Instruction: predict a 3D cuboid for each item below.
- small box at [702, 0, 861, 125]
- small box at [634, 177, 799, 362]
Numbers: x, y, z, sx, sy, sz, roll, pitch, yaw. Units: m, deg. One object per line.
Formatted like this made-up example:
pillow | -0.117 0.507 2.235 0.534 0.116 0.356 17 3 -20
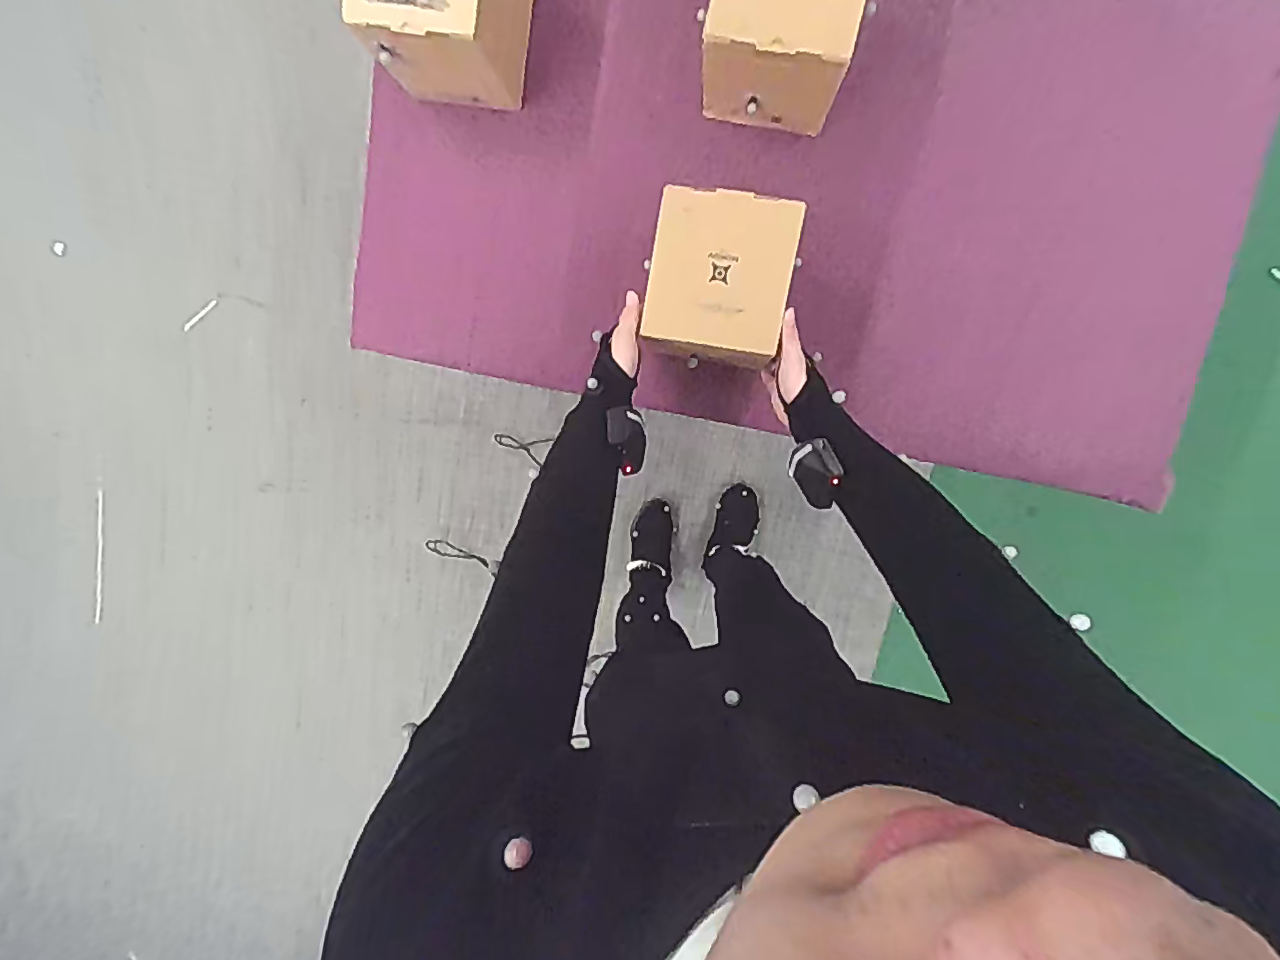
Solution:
small box | 0.174 -0.576 0.659 0.168 0.176 0.179 14 102 5
small box | 0.098 -0.263 0.714 0.168 0.176 0.179 12 99 7
